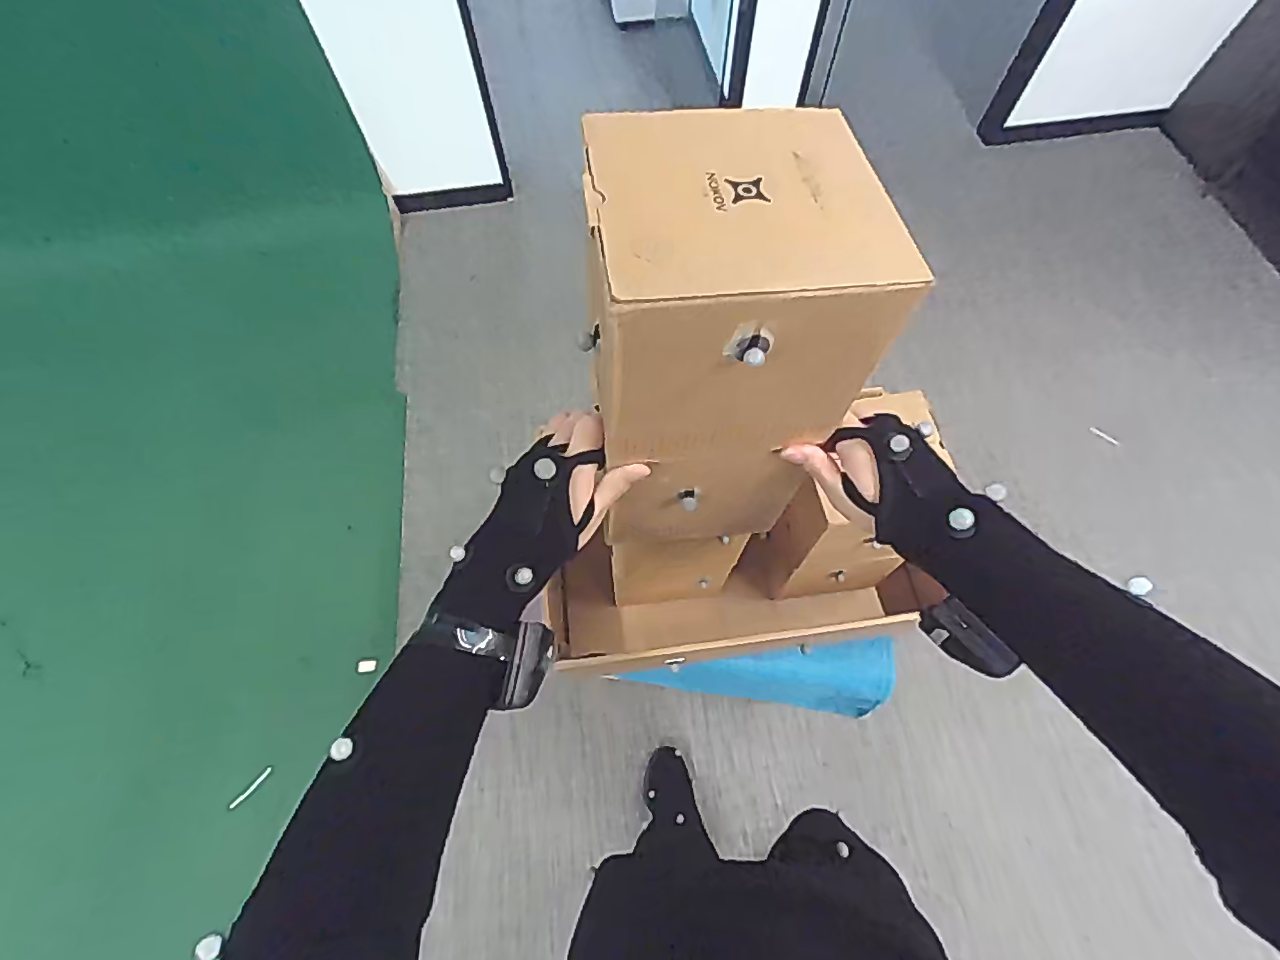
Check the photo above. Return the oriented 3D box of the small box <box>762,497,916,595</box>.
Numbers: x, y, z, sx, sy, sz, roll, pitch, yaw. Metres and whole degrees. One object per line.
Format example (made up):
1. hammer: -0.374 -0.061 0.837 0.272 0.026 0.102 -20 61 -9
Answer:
1. small box: 0.299 0.078 0.866 0.179 0.176 0.168 -7 63 -1

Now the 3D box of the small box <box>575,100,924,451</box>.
1. small box: 0.052 -0.132 0.382 0.179 0.176 0.168 -5 61 -6

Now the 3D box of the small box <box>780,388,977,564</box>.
1. small box: 0.294 0.001 0.721 0.179 0.176 0.168 -8 62 -1

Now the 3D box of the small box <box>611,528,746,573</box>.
1. small box: 0.044 0.017 0.723 0.179 0.176 0.168 -6 63 -5

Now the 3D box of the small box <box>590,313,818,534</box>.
1. small box: 0.046 -0.055 0.526 0.179 0.176 0.168 -4 61 -4
